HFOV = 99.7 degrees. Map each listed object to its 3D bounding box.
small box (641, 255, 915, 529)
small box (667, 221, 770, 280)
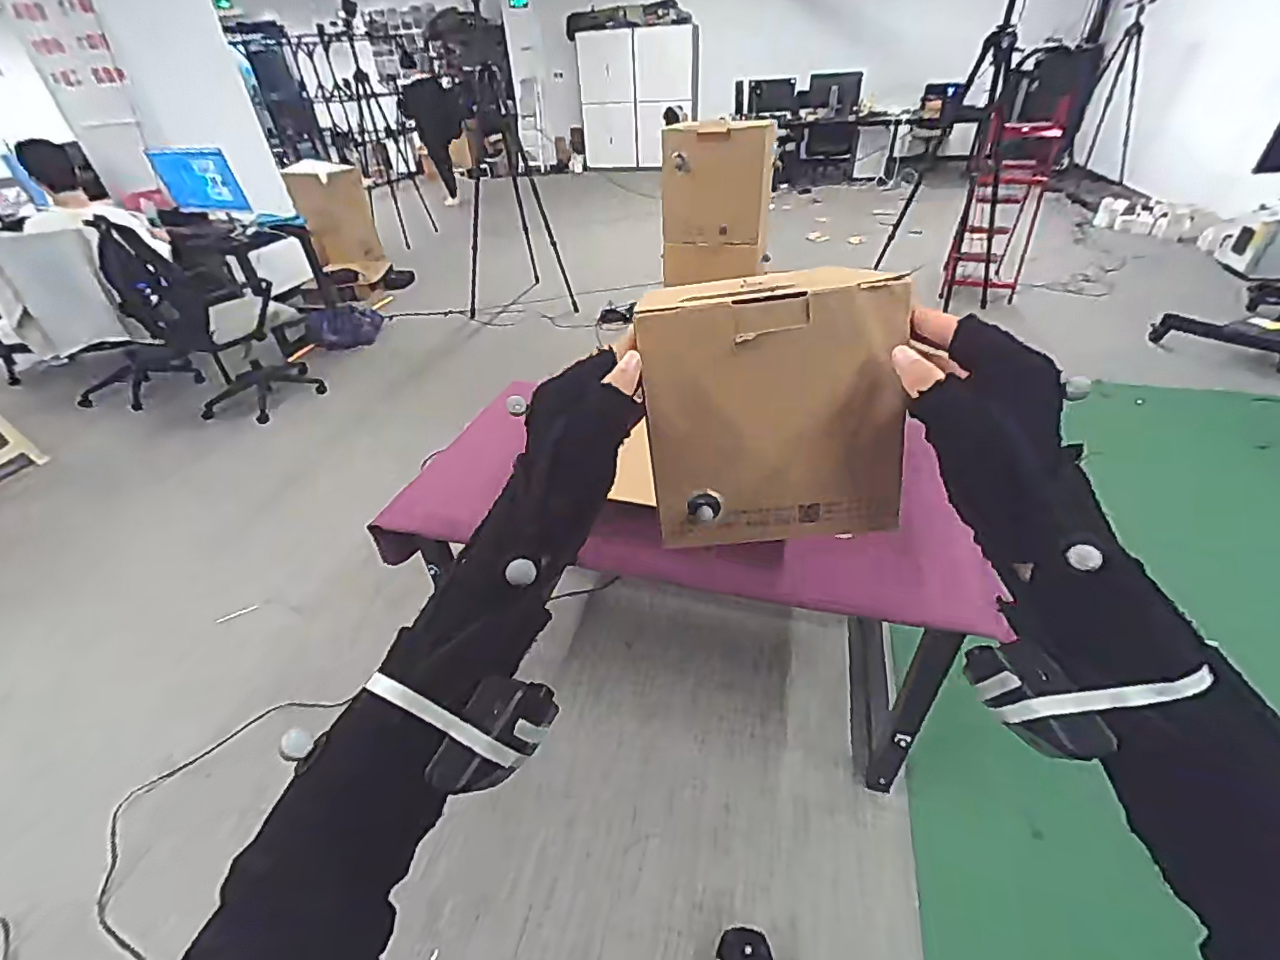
[{"bbox_3d":[0.093,-0.071,0.426,0.168,0.176,0.179,-7,25,3],"label":"small box"},{"bbox_3d":[0.148,-0.384,1.033,0.168,0.176,0.179,8,38,14],"label":"small box"}]
